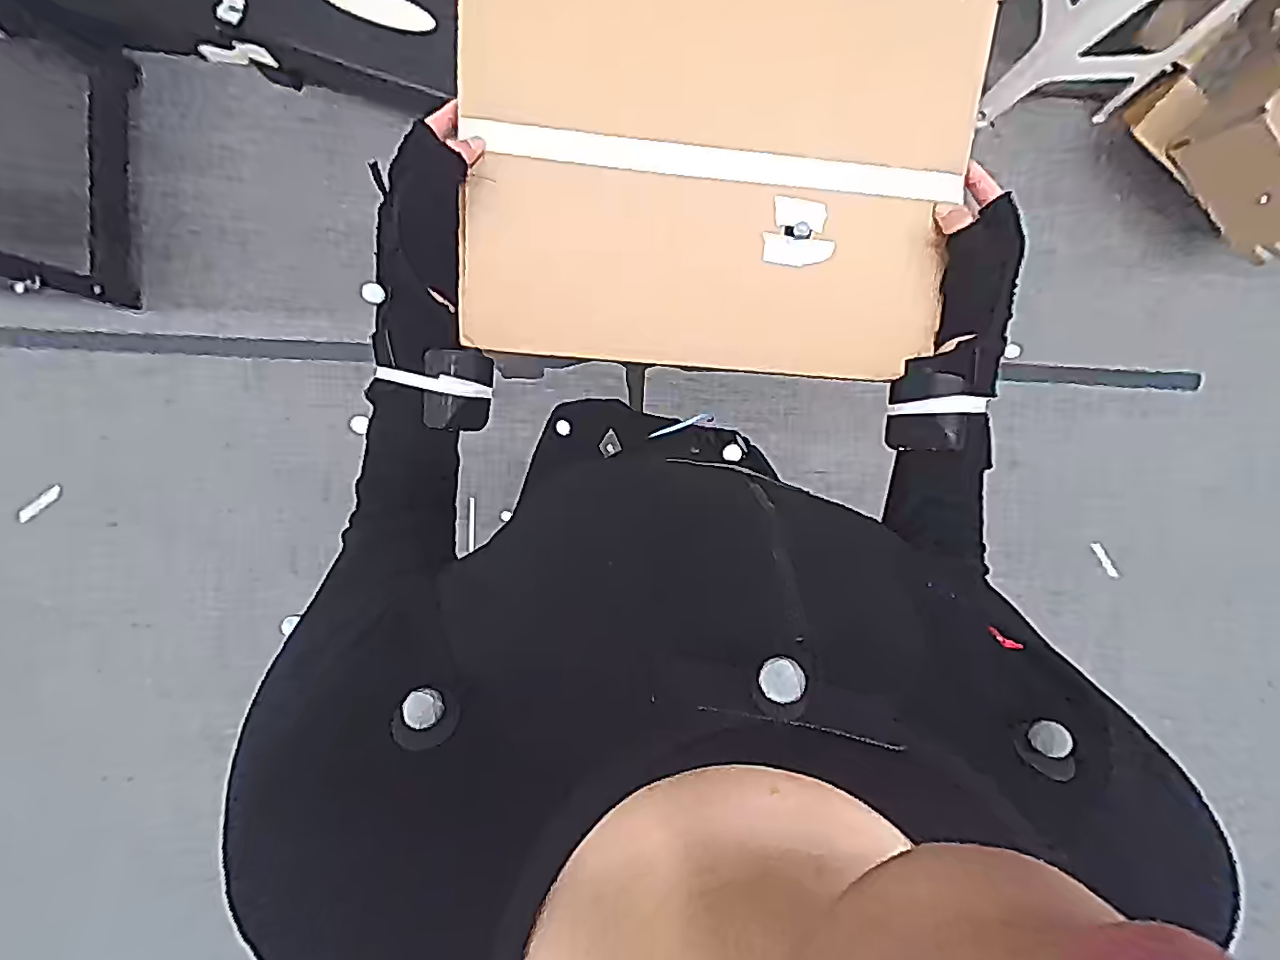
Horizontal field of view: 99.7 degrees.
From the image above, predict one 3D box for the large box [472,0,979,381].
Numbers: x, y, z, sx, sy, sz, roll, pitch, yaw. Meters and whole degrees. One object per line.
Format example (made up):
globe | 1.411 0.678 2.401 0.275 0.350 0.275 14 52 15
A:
large box | 0.050 -0.282 0.587 0.408 0.320 0.320 3 104 -7
